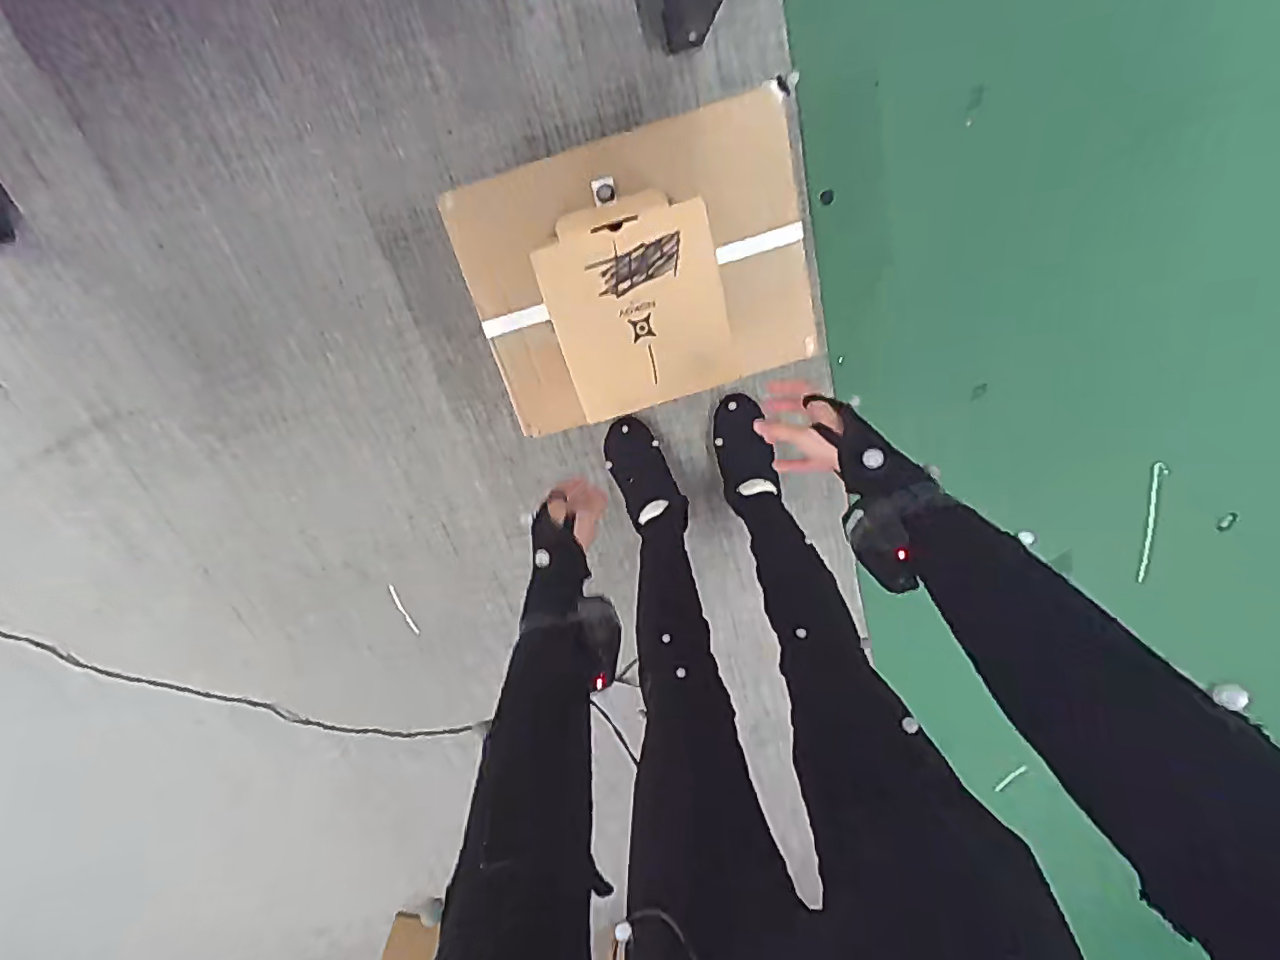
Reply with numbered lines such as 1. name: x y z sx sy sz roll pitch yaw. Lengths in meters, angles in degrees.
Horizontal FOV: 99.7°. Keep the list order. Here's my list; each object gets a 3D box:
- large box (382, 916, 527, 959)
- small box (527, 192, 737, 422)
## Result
1. large box: -0.569 1.545 1.574 0.408 0.320 0.320 13 112 -7
2. small box: -0.008 -0.188 0.581 0.168 0.176 0.179 -16 116 4
